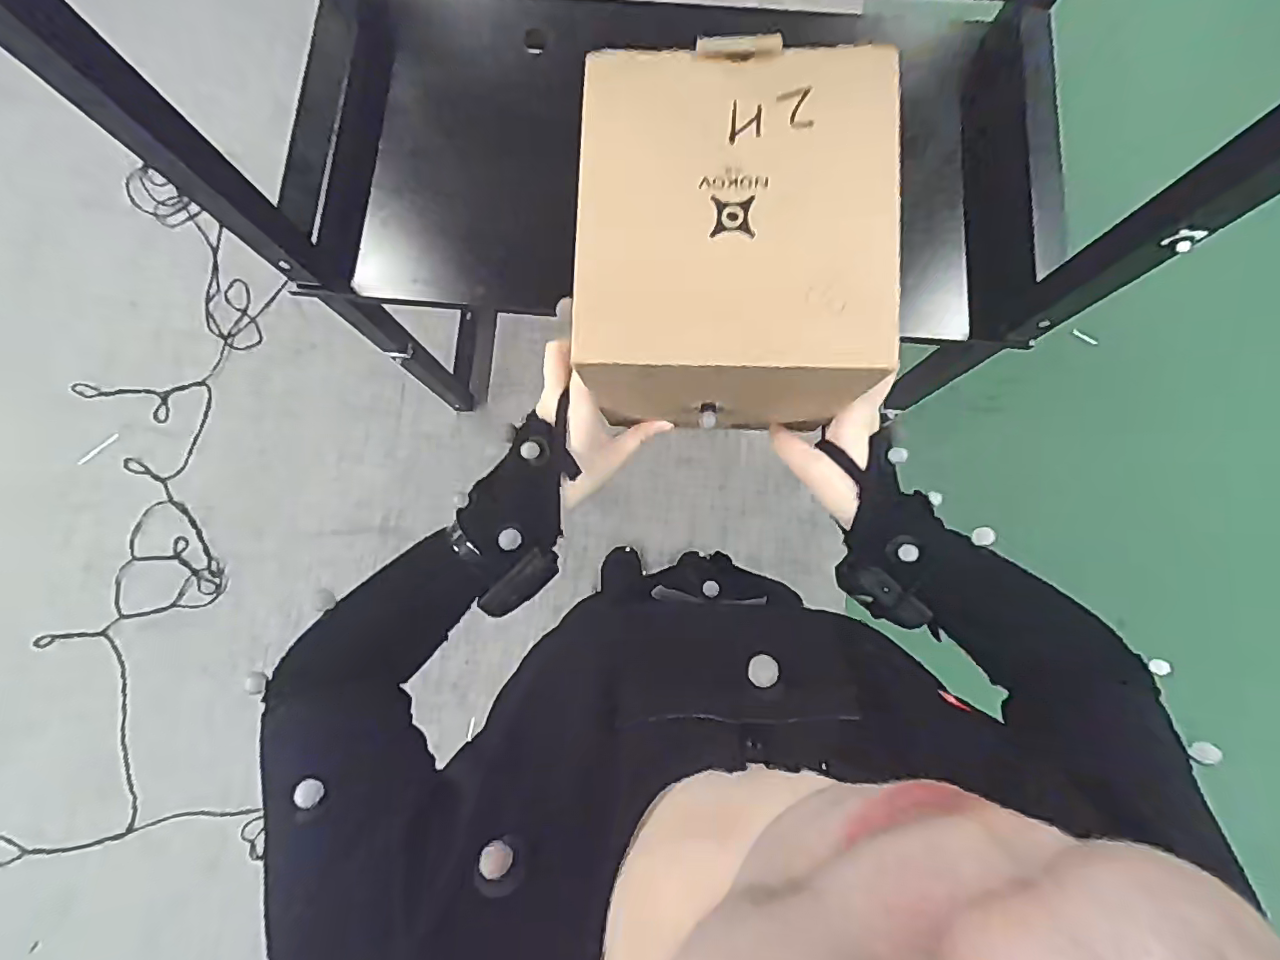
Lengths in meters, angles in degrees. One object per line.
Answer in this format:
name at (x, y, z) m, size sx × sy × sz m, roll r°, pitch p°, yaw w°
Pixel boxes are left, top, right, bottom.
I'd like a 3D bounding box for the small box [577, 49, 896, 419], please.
small box at (0.057, -0.141, 0.369) m, size 0.168 × 0.176 × 0.179 m, roll 2°, pitch 85°, yaw 4°
